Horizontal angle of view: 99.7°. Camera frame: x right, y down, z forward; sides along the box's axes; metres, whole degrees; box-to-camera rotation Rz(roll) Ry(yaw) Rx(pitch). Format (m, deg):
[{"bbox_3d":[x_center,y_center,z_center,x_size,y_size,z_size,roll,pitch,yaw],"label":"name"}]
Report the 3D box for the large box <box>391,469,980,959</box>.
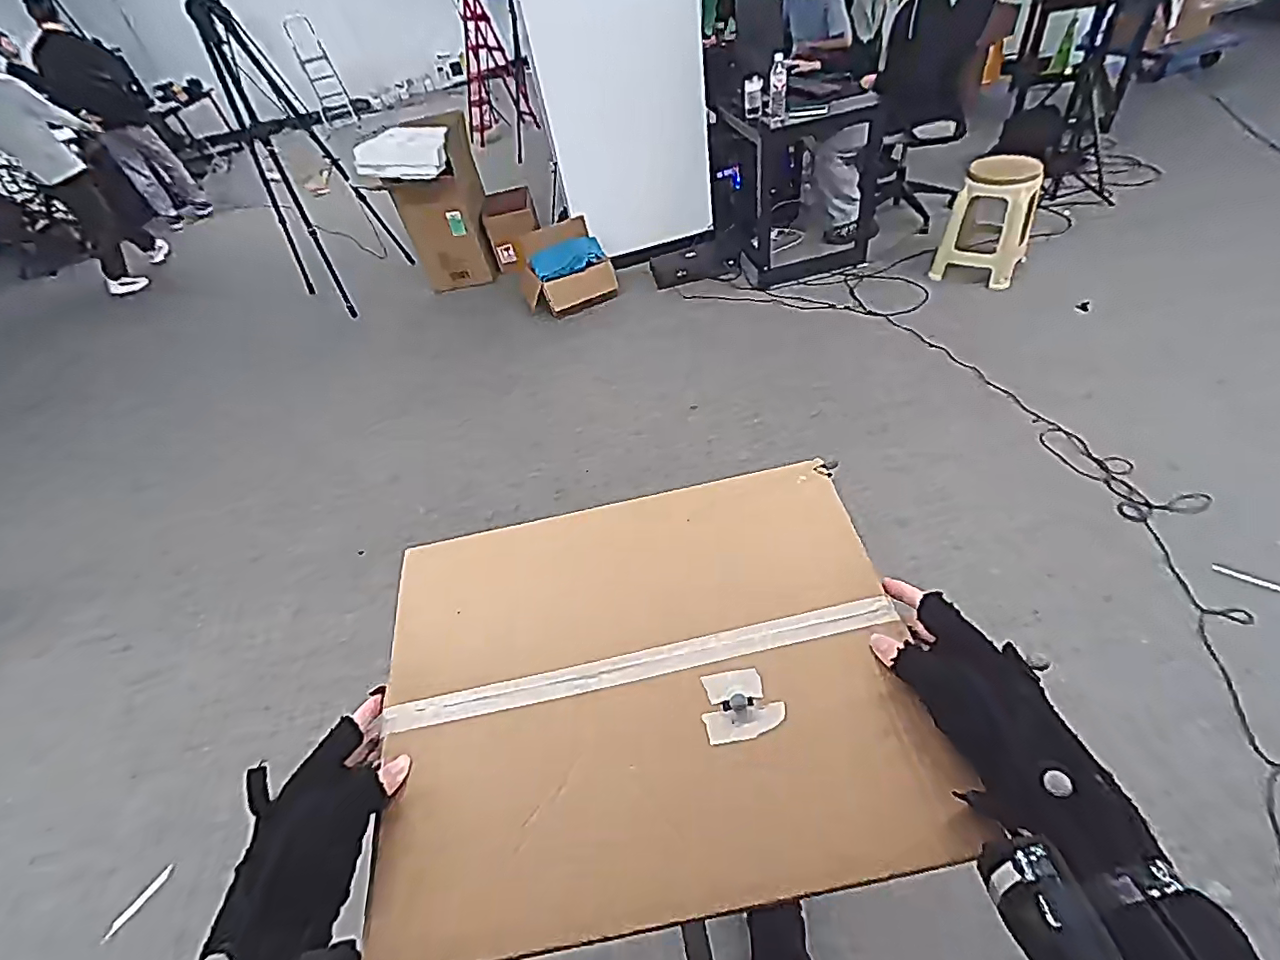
[{"bbox_3d":[0.023,0.239,0.556,0.408,0.320,0.320,-12,53,0],"label":"large box"}]
